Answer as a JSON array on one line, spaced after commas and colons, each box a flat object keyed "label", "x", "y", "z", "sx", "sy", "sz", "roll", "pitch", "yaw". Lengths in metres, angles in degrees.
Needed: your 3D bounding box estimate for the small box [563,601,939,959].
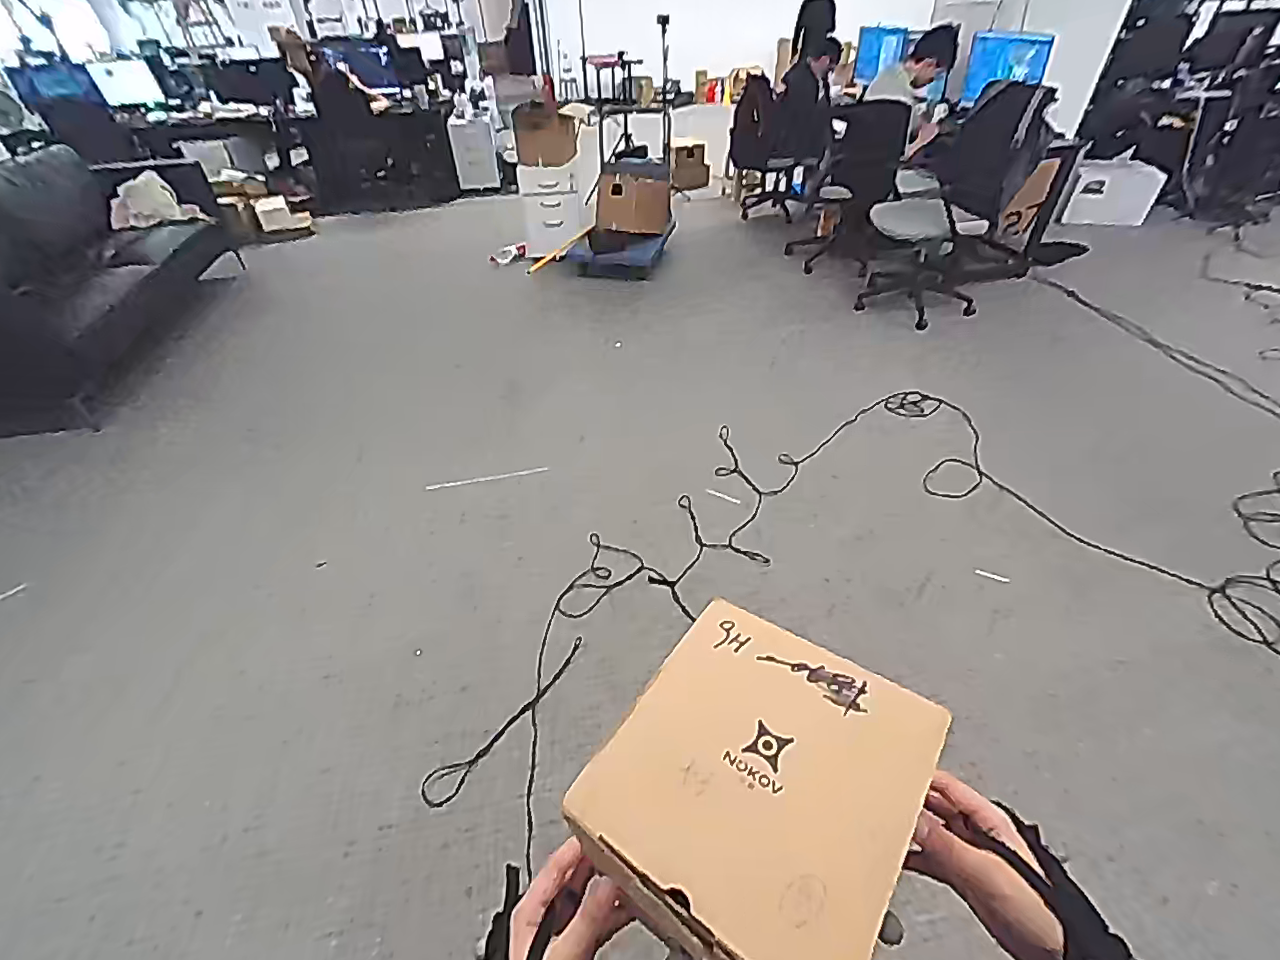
[{"label": "small box", "x": 0.079, "y": 0.226, "z": 0.373, "sx": 0.168, "sy": 0.176, "sz": 0.179, "roll": 21, "pitch": 48, "yaw": 33}]
